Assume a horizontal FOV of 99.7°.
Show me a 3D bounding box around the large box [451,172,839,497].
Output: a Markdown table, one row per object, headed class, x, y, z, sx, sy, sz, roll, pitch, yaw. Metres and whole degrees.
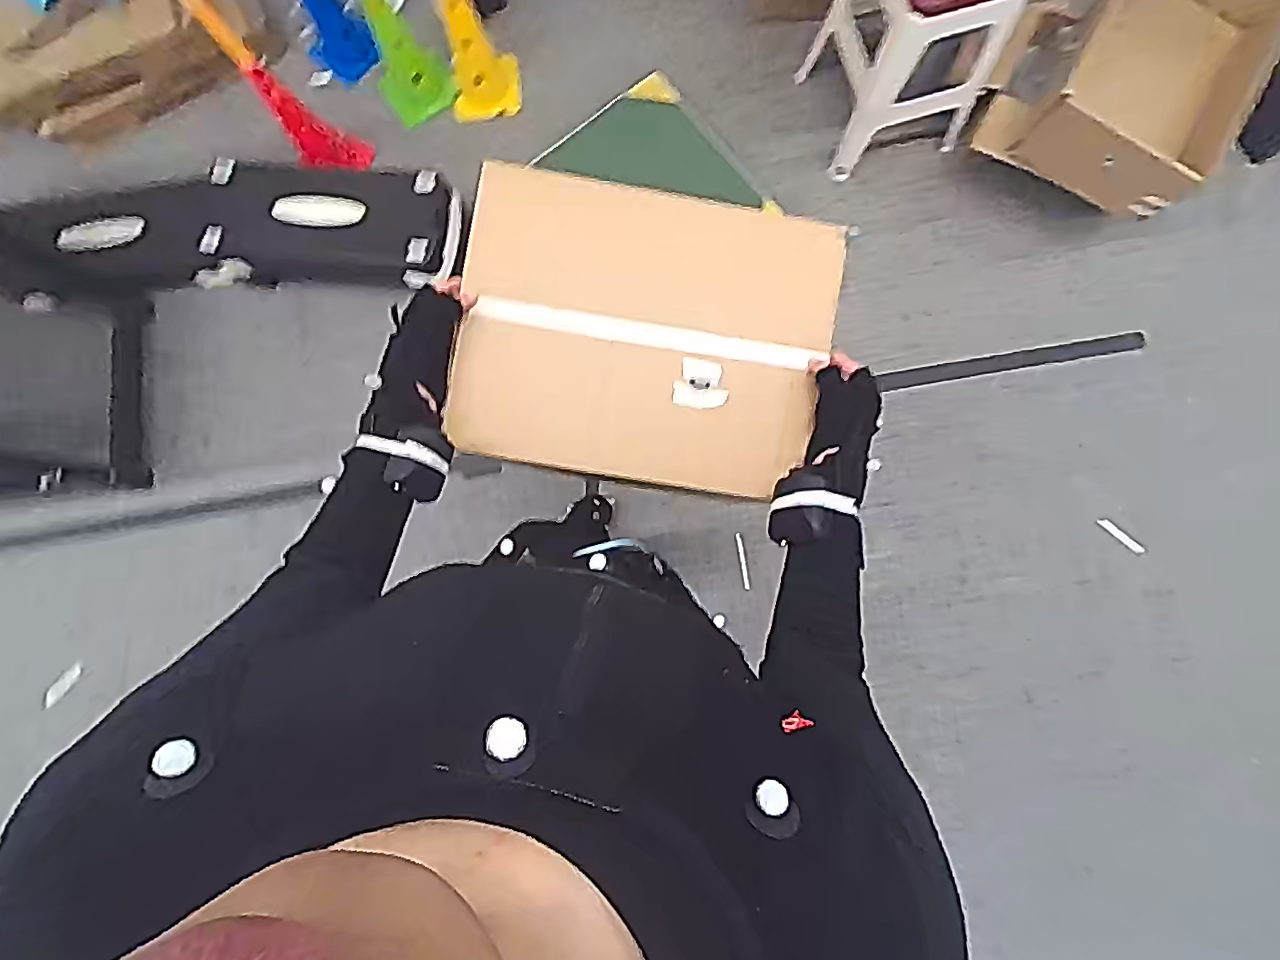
| class | x | y | z | sx | sy | sz | roll | pitch | yaw |
| --- | --- | --- | --- | --- | --- | --- | --- | --- | --- |
| large box | 0.000 | -0.159 | 0.752 | 0.408 | 0.320 | 0.320 | 10 | 89 | -3 |
